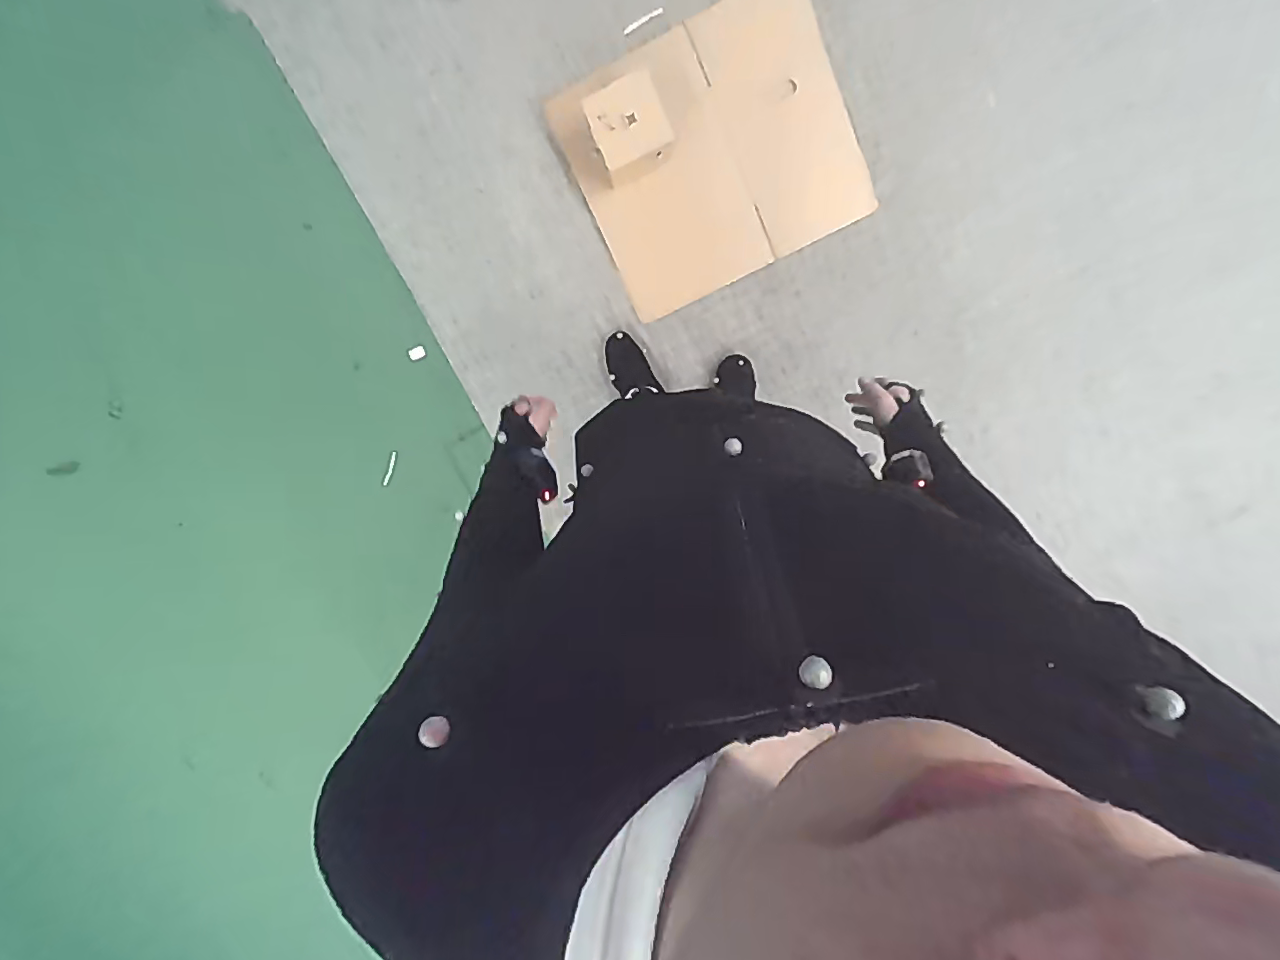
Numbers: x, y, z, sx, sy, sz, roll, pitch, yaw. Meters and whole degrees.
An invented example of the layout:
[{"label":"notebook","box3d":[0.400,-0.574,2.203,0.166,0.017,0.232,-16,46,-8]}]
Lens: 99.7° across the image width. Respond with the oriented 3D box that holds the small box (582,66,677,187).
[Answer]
[{"label":"small box","box3d":[-0.022,-0.851,1.321,0.179,0.176,0.168,-23,104,8]}]
